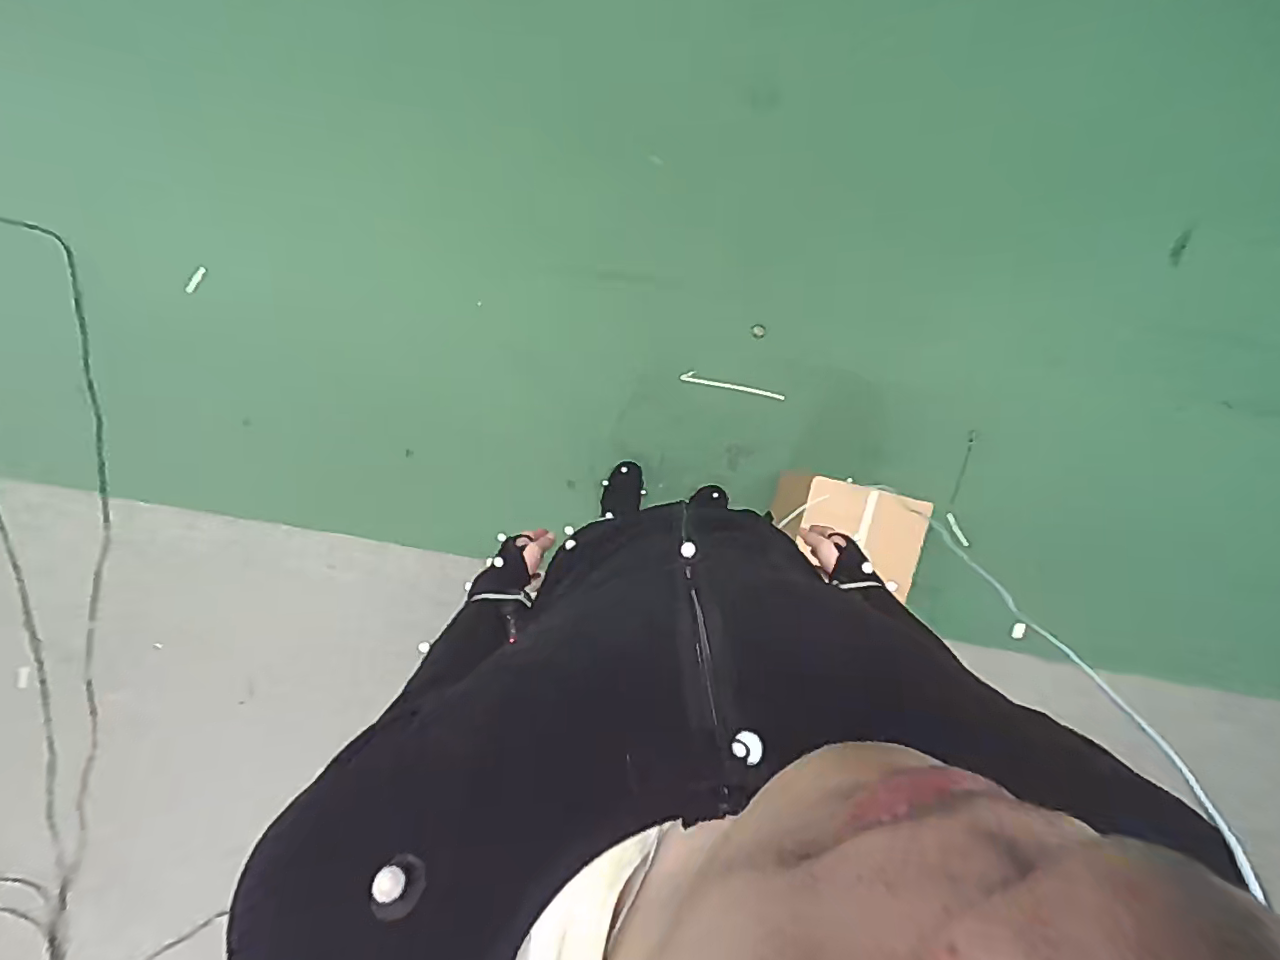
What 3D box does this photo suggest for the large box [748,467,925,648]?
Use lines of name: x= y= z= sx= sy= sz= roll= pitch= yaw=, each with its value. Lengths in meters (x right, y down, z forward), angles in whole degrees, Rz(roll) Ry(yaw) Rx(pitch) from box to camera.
large box: x=0.526 y=0.196 z=1.518 sx=0.320 sy=0.320 sz=0.408 roll=14 pitch=95 yaw=-1
